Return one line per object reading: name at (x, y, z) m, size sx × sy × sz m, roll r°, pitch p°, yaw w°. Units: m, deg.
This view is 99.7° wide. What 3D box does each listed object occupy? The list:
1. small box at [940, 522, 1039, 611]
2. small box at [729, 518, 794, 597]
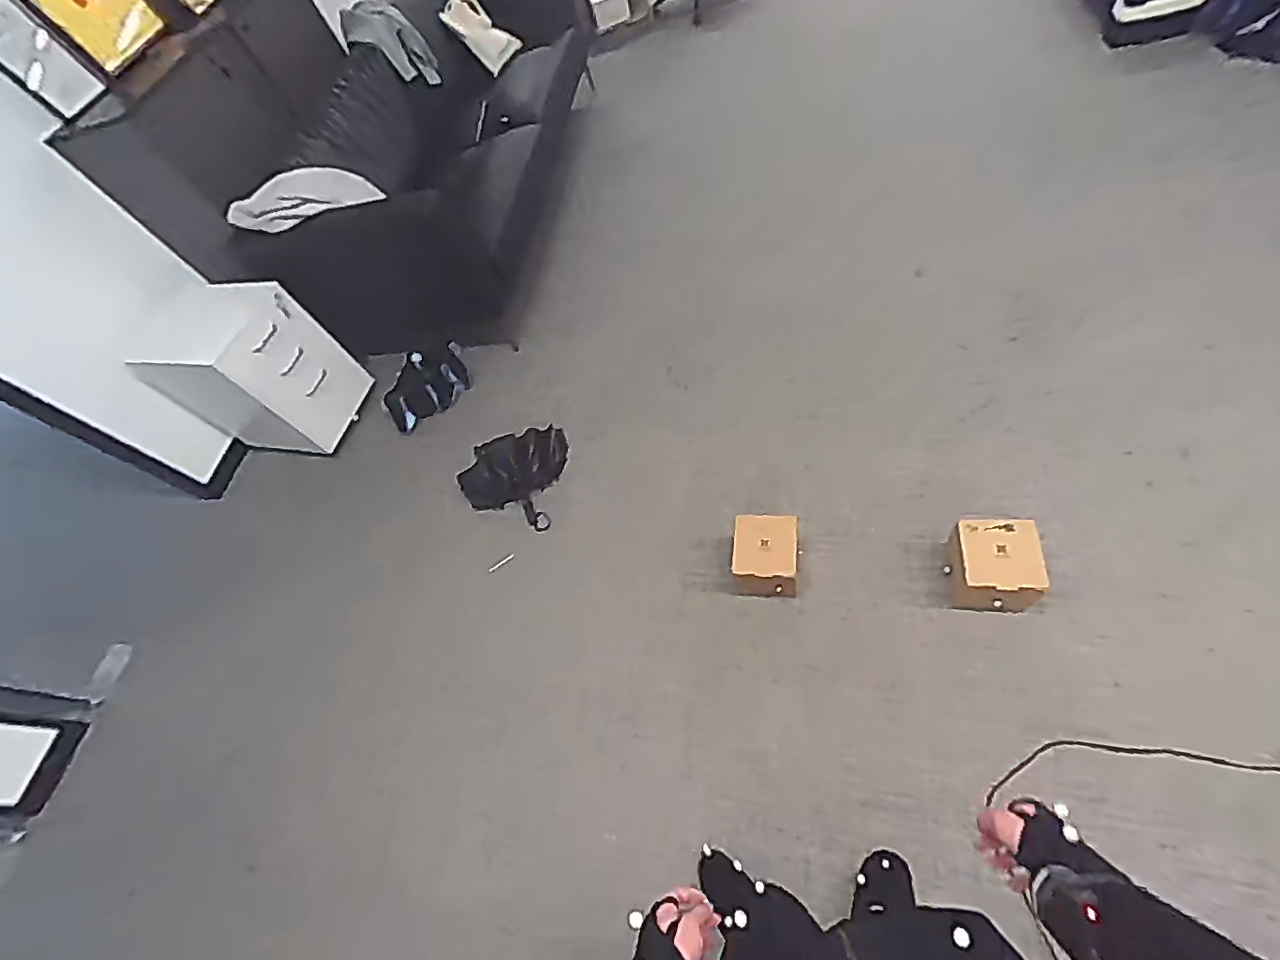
small box at (0.868, 0.220, 1.358) m, size 0.168 × 0.176 × 0.179 m, roll 0°, pitch 60°, yaw 18°
small box at (0.347, 0.222, 1.524) m, size 0.168 × 0.176 × 0.179 m, roll 0°, pitch 58°, yaw 16°
